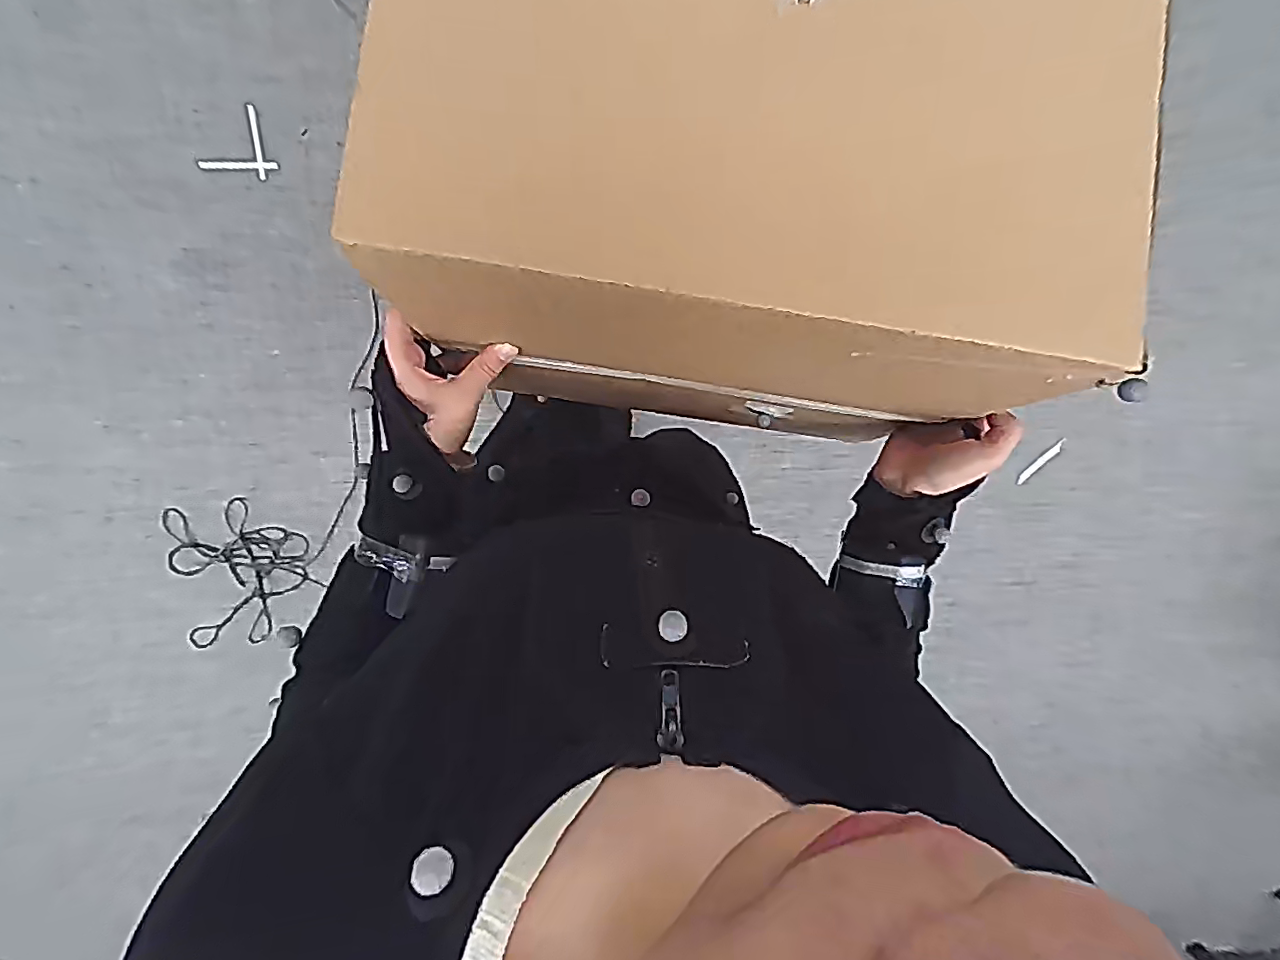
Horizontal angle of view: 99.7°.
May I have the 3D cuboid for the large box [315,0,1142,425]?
[{"bbox_3d":[0.050,-0.235,0.412,0.408,0.320,0.320,6,89,-4],"label":"large box"}]
